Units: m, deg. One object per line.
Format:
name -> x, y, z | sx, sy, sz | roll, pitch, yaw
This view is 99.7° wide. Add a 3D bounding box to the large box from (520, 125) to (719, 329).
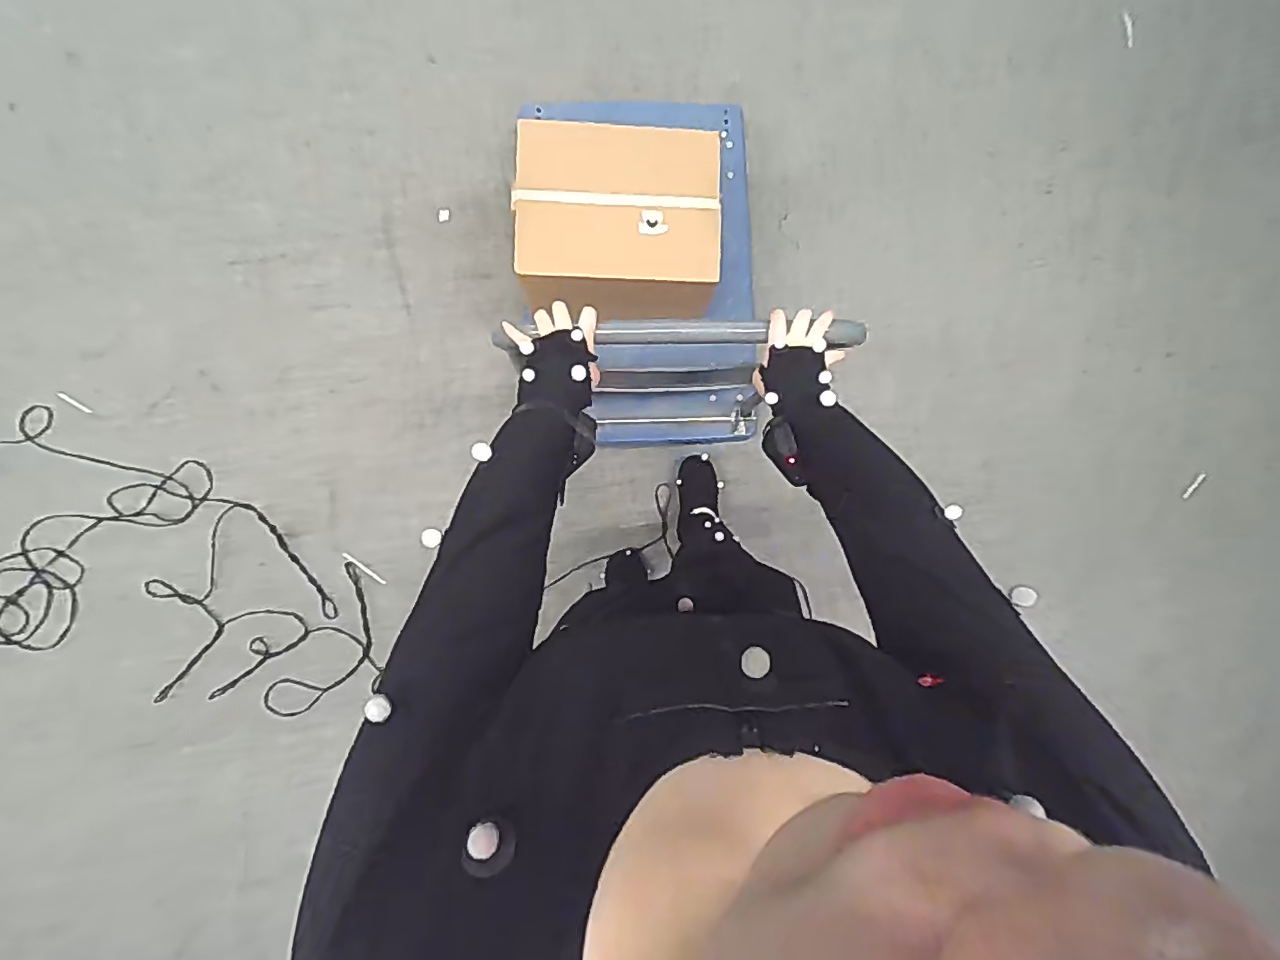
large box -> -0.053, -0.546, 1.232 | 0.408, 0.320, 0.320 | 1, 87, -5
